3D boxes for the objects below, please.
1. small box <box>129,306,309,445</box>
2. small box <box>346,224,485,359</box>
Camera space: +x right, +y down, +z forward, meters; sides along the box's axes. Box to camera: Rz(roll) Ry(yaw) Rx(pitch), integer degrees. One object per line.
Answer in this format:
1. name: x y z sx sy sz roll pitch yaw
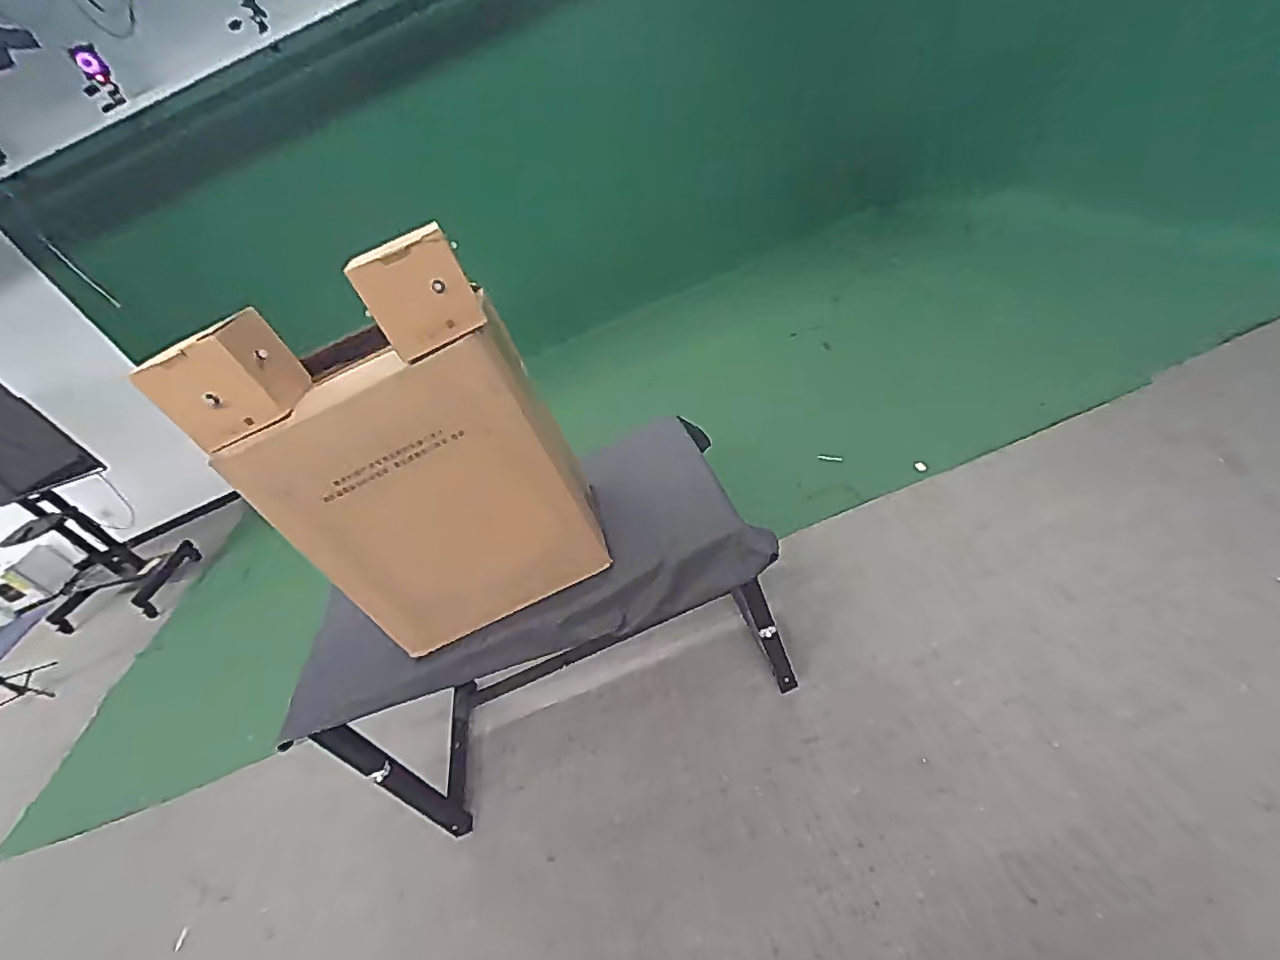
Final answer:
1. small box: -0.748 -0.186 0.989 0.168 0.176 0.179 -25 35 1
2. small box: -0.395 -0.338 0.974 0.168 0.176 0.179 -27 33 -7
